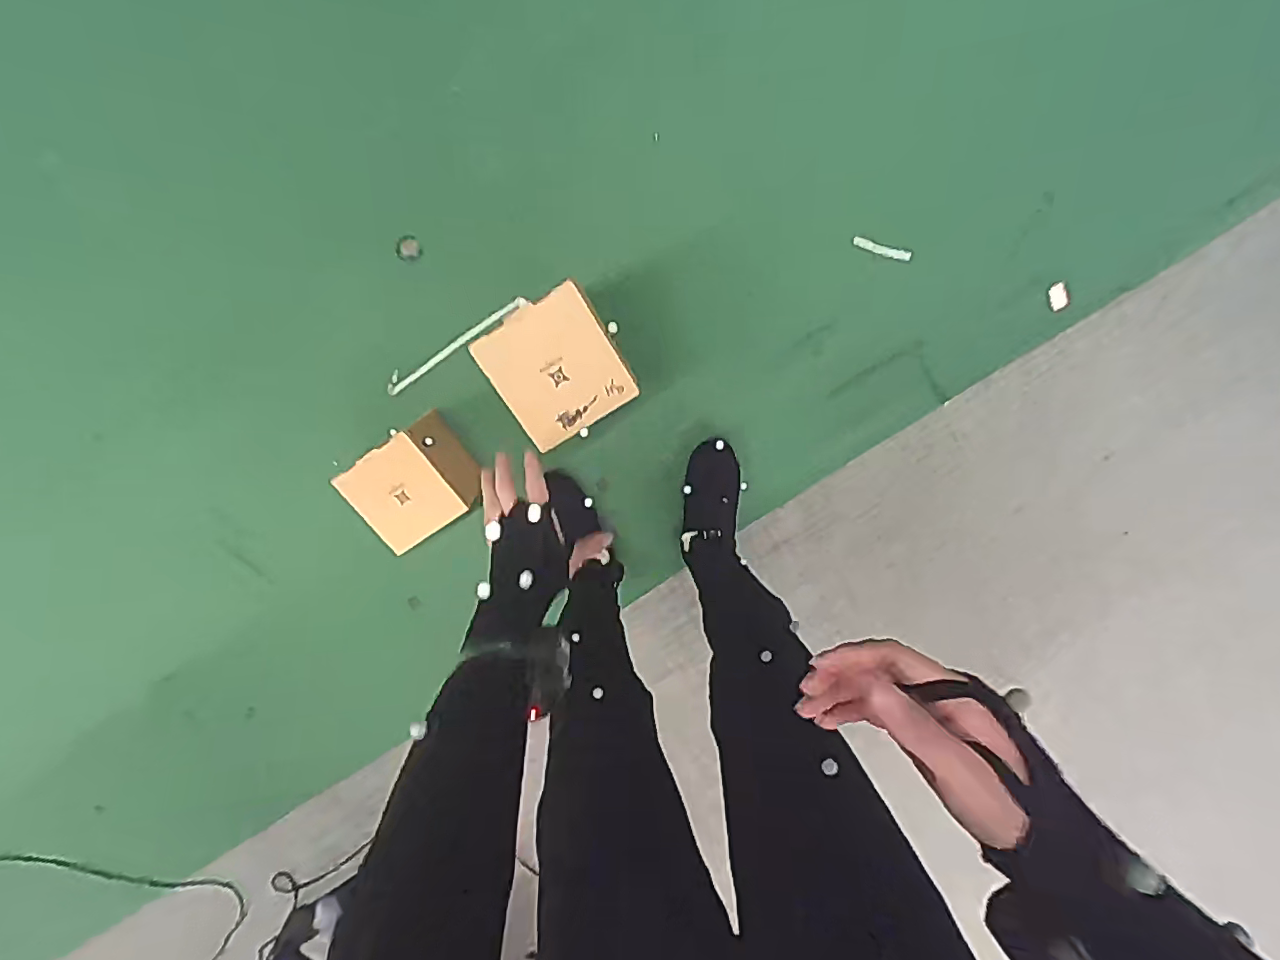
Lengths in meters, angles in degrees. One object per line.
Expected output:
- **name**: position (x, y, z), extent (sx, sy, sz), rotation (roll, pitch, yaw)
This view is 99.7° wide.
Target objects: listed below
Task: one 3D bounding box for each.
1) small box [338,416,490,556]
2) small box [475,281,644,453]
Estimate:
- **small box**: position (-0.411, 0.004, 1.019), extent (0.168, 0.176, 0.179), rotation (-32, 107, 9)
- **small box**: position (-0.111, -0.169, 0.799), extent (0.168, 0.176, 0.179), rotation (-30, 108, 7)
